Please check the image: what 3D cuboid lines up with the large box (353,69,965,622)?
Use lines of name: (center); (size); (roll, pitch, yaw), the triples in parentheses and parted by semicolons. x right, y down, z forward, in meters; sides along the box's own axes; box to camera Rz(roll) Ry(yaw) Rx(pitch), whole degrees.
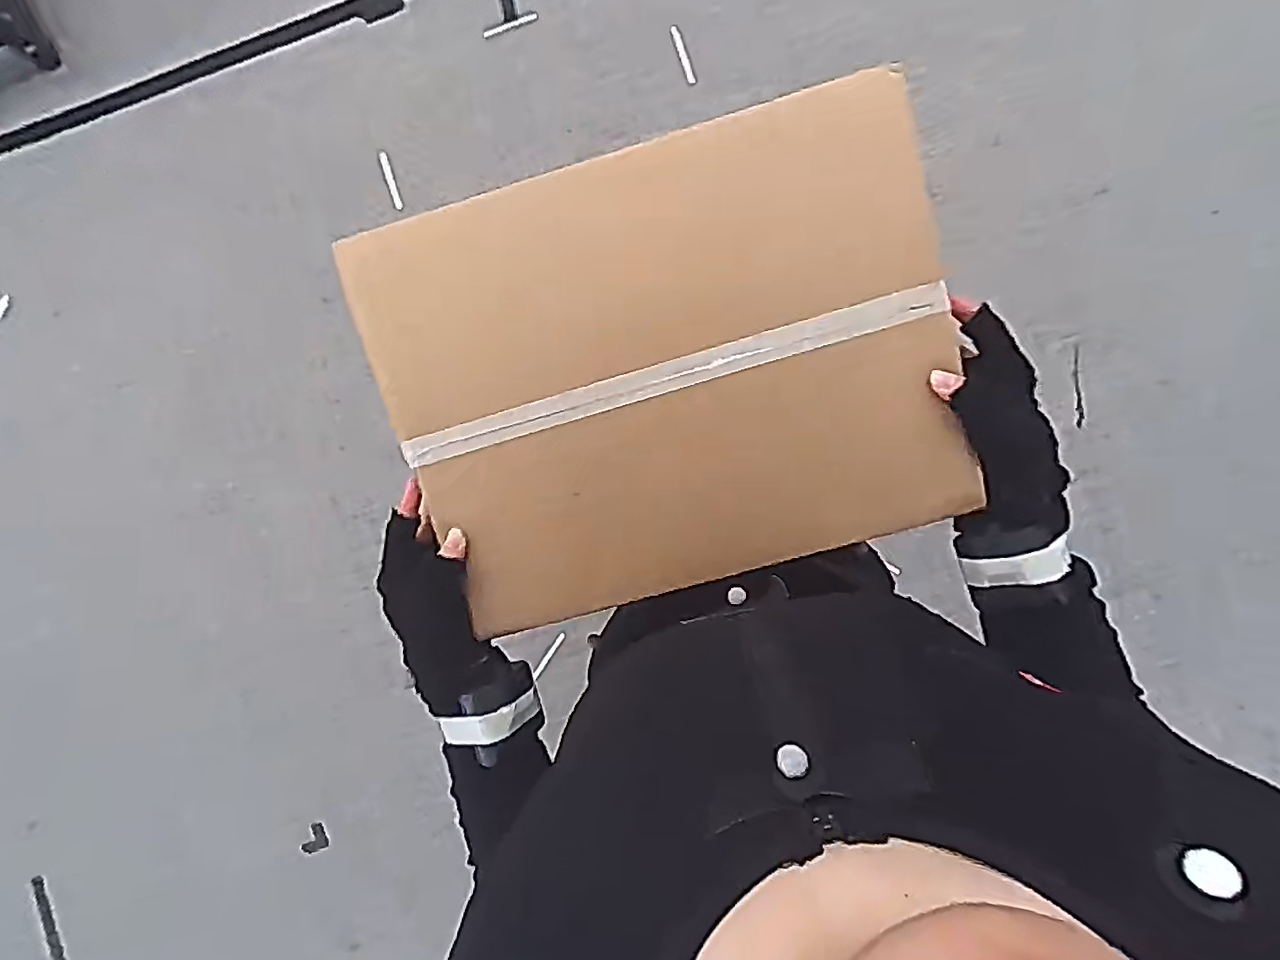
large box: (0.020, -0.105, 0.551); (0.408, 0.320, 0.320); (-16, 100, 4)
